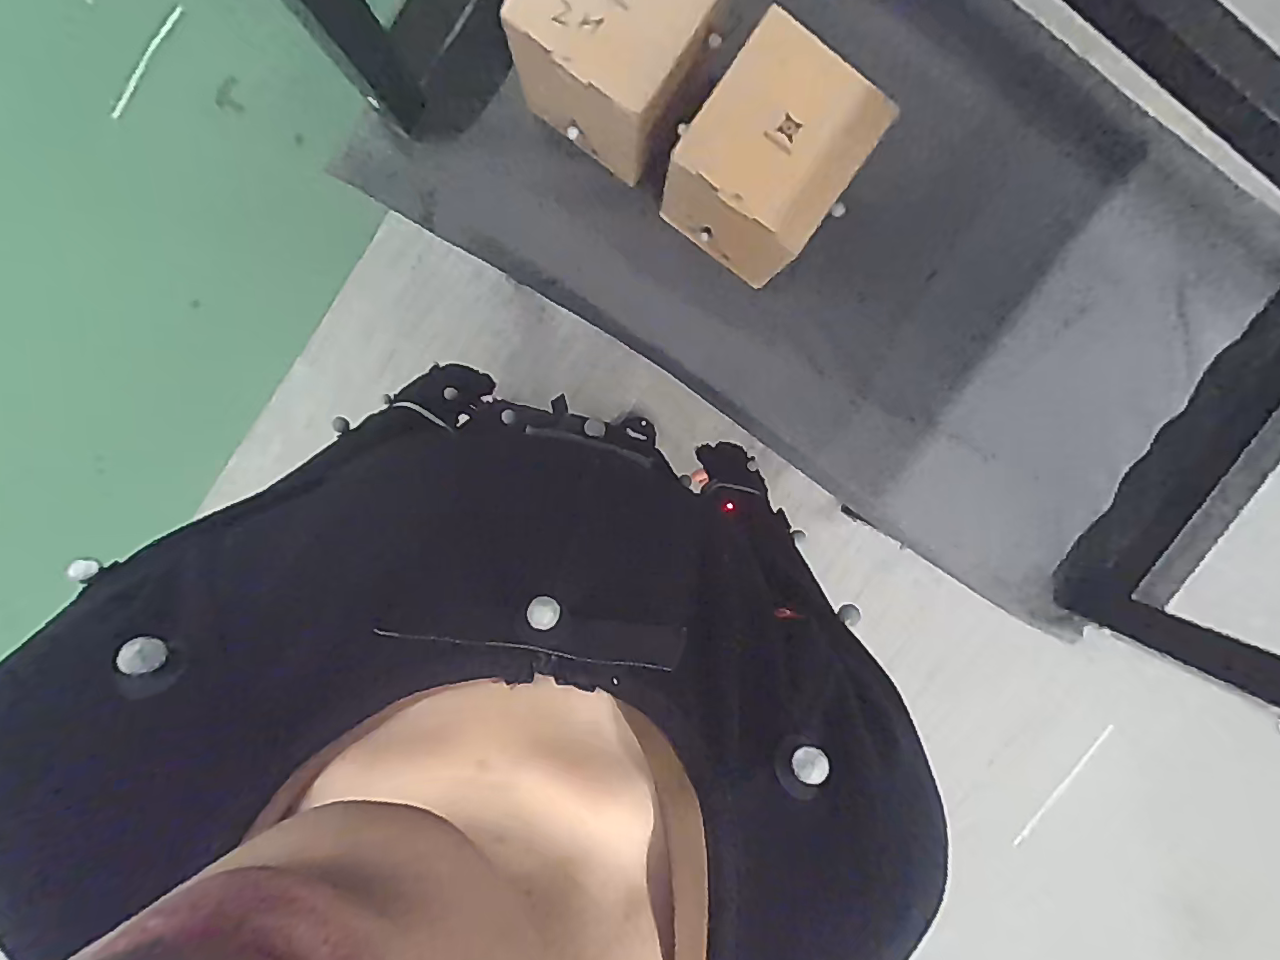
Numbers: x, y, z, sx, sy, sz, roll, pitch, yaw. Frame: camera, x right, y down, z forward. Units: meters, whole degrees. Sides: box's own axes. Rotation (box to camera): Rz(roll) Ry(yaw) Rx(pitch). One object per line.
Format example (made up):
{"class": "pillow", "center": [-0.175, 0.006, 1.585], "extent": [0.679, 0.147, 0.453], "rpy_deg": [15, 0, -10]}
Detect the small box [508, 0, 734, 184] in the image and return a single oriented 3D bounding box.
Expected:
{"class": "small box", "center": [-0.021, -0.483, 0.606], "extent": [0.168, 0.176, 0.179], "rpy_deg": [35, 95, -6]}

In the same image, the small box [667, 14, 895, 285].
{"class": "small box", "center": [0.145, -0.360, 0.631], "extent": [0.168, 0.176, 0.179], "rpy_deg": [35, 95, -6]}
